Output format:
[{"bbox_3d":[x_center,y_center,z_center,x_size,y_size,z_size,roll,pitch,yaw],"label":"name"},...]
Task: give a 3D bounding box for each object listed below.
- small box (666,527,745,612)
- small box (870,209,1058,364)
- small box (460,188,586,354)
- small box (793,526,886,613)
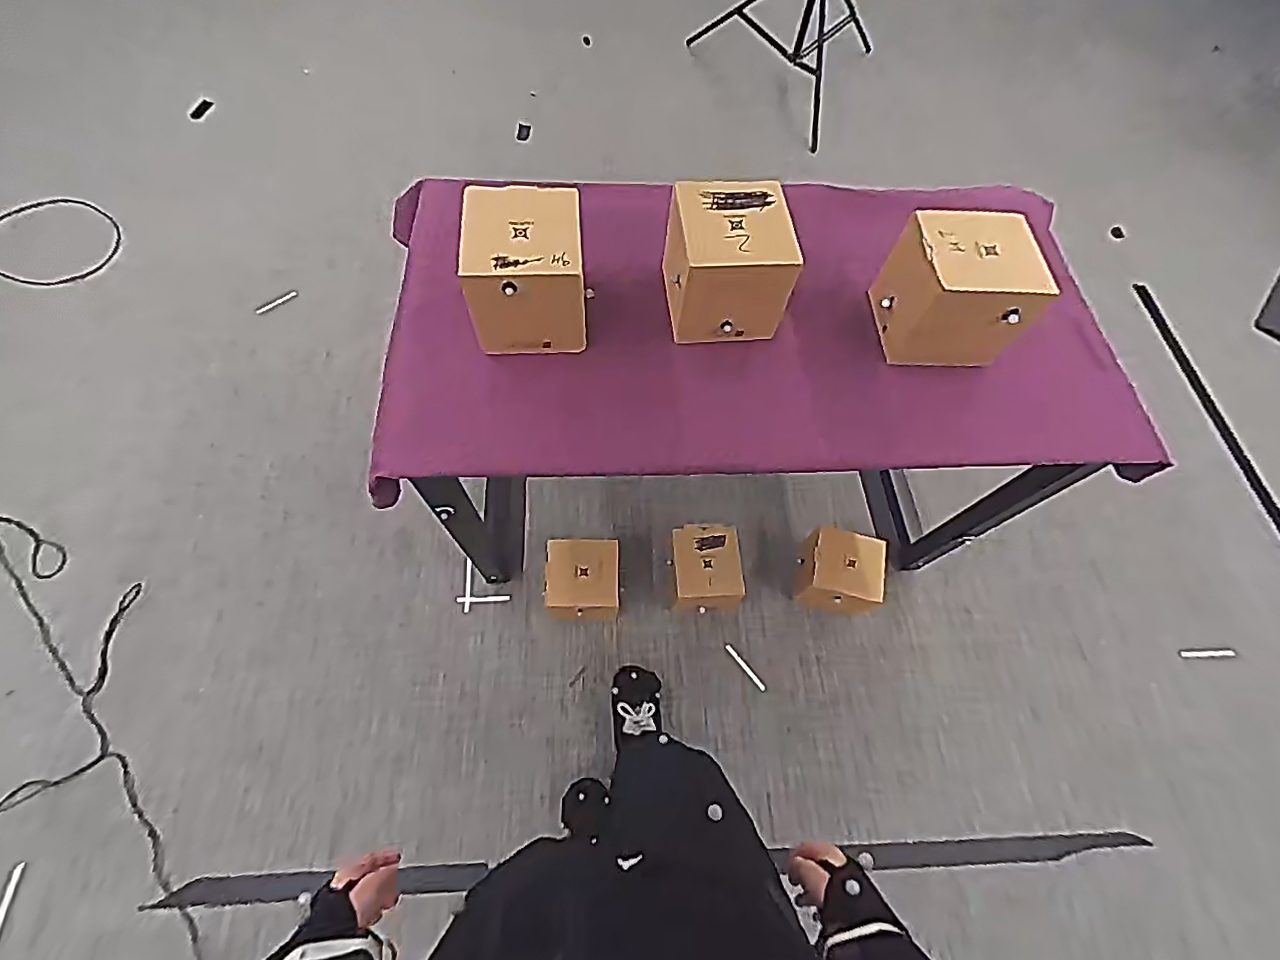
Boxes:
[{"bbox_3d":[0.162,0.234,1.395,0.168,0.176,0.179,-2,66,-4],"label":"small box"},{"bbox_3d":[0.498,-0.300,0.860,0.179,0.176,0.168,0,64,-3],"label":"small box"},{"bbox_3d":[-0.169,-0.314,0.827,0.168,0.176,0.179,-3,65,-5],"label":"small box"},{"bbox_3d":[0.518,0.241,1.415,0.179,0.176,0.168,13,65,4],"label":"small box"}]
